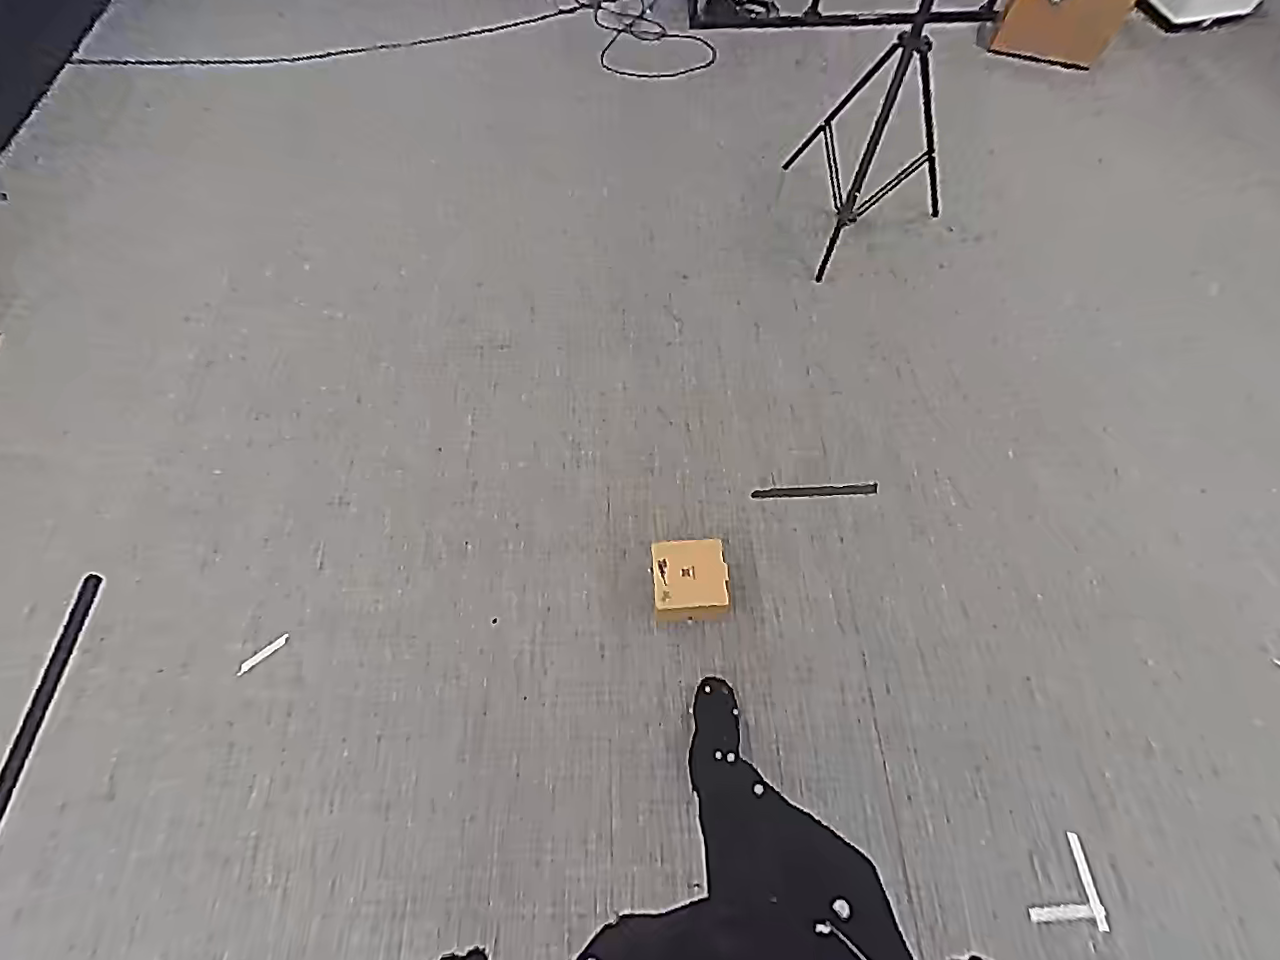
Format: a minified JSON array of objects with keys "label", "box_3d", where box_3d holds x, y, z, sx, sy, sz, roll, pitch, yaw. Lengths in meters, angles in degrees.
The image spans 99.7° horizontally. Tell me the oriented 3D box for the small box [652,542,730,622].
[{"label":"small box","box_3d":[0.122,0.262,1.369,0.179,0.176,0.168,-3,65,0]}]
